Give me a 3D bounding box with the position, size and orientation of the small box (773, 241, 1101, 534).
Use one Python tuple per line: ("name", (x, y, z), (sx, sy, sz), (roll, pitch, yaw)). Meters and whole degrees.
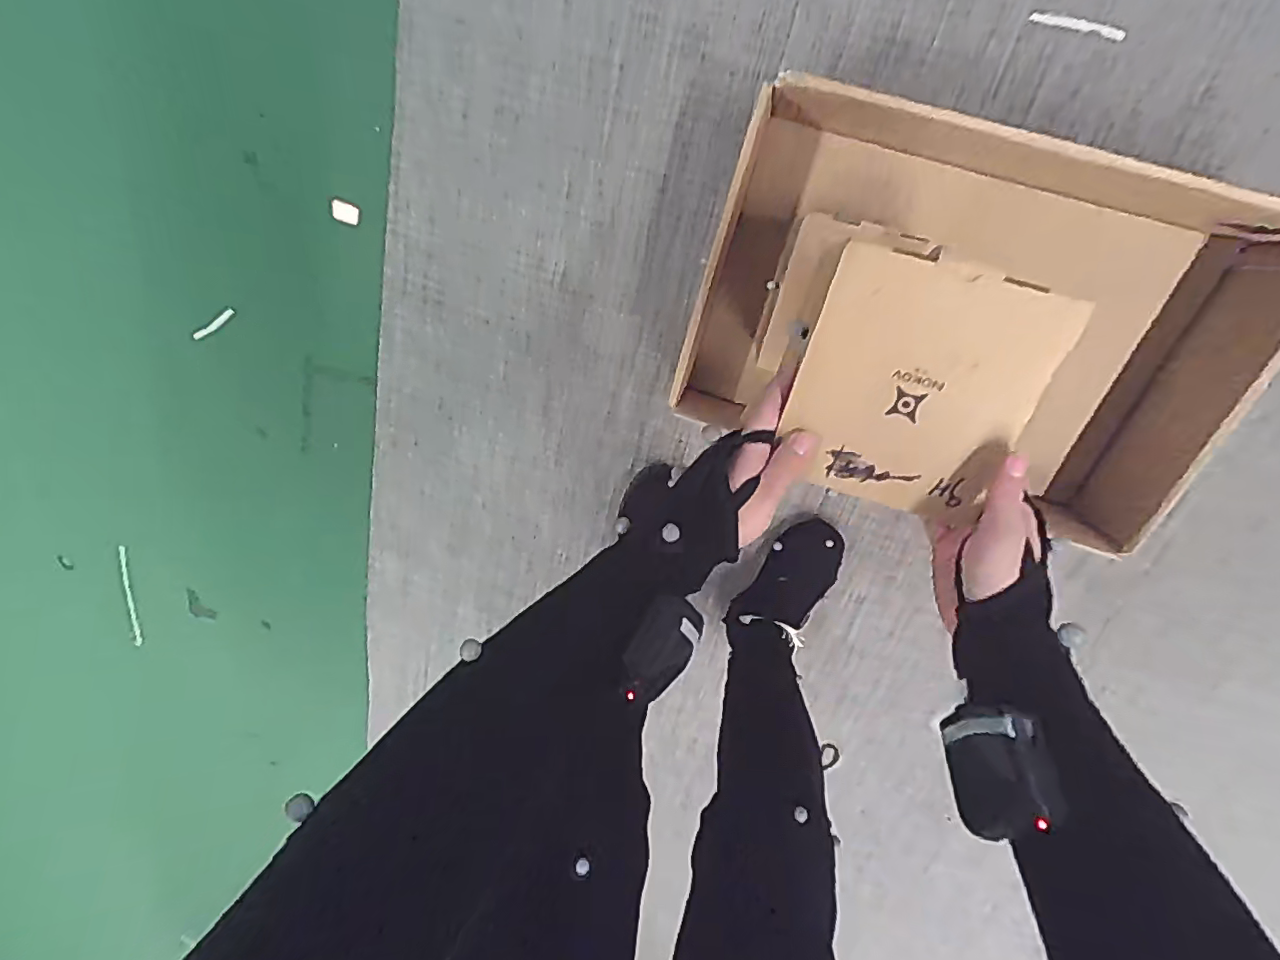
("small box", (0.217, -0.086, 0.461), (0.168, 0.176, 0.179), (18, 113, 5))
